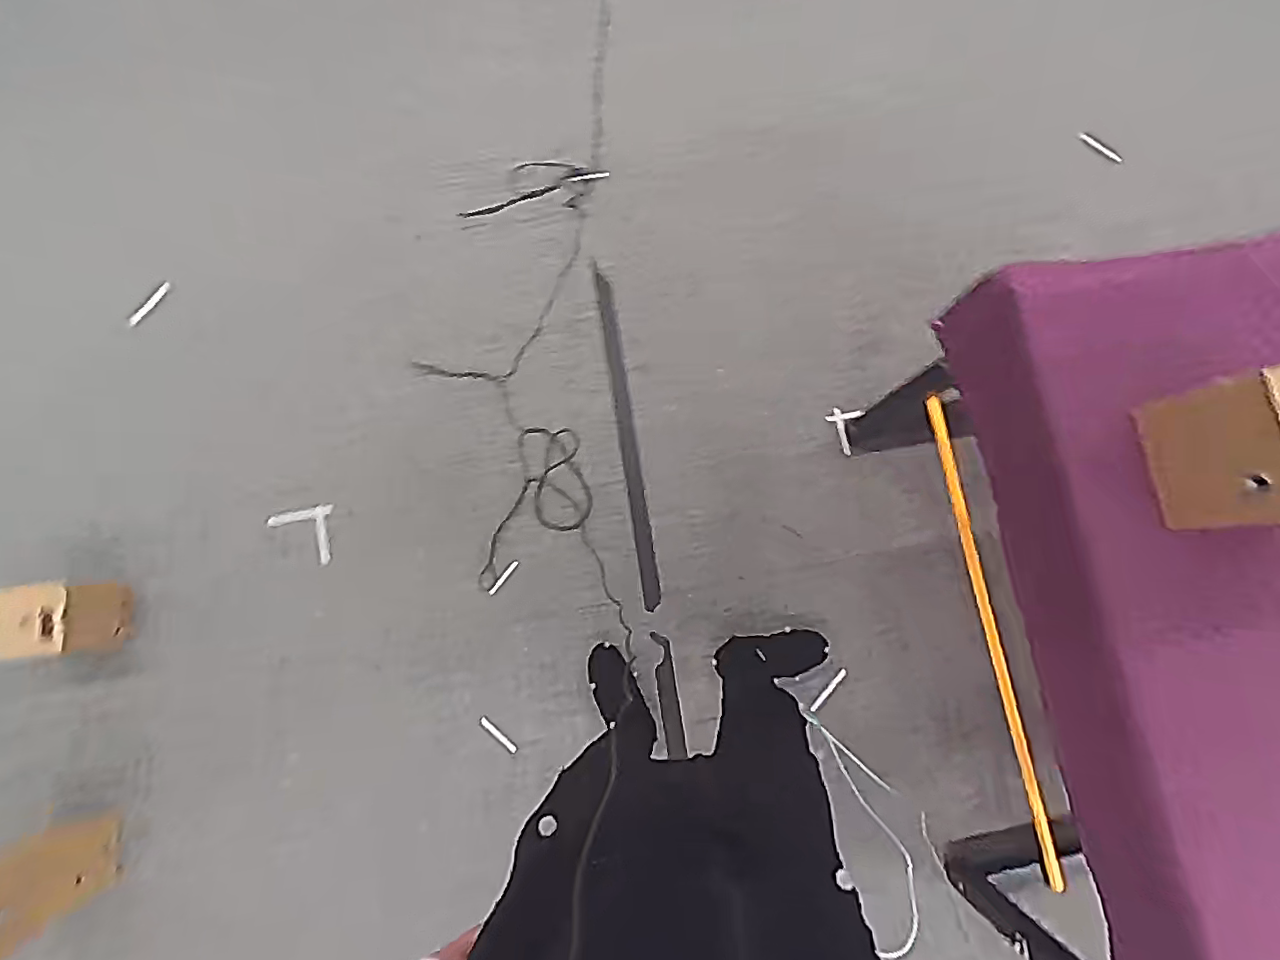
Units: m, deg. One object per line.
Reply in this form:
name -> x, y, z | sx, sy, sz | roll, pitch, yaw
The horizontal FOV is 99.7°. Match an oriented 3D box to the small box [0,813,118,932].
small box -> -1.371, 0.902, 1.254 | 0.179, 0.176, 0.168 | -8, 81, -1

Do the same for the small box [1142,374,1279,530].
small box -> 0.803, -0.032, 0.682 | 0.168, 0.176, 0.179 | -7, 81, -2

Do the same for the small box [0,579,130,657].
small box -> -1.429, 0.338, 1.345 | 0.179, 0.176, 0.168 | -6, 80, -1
